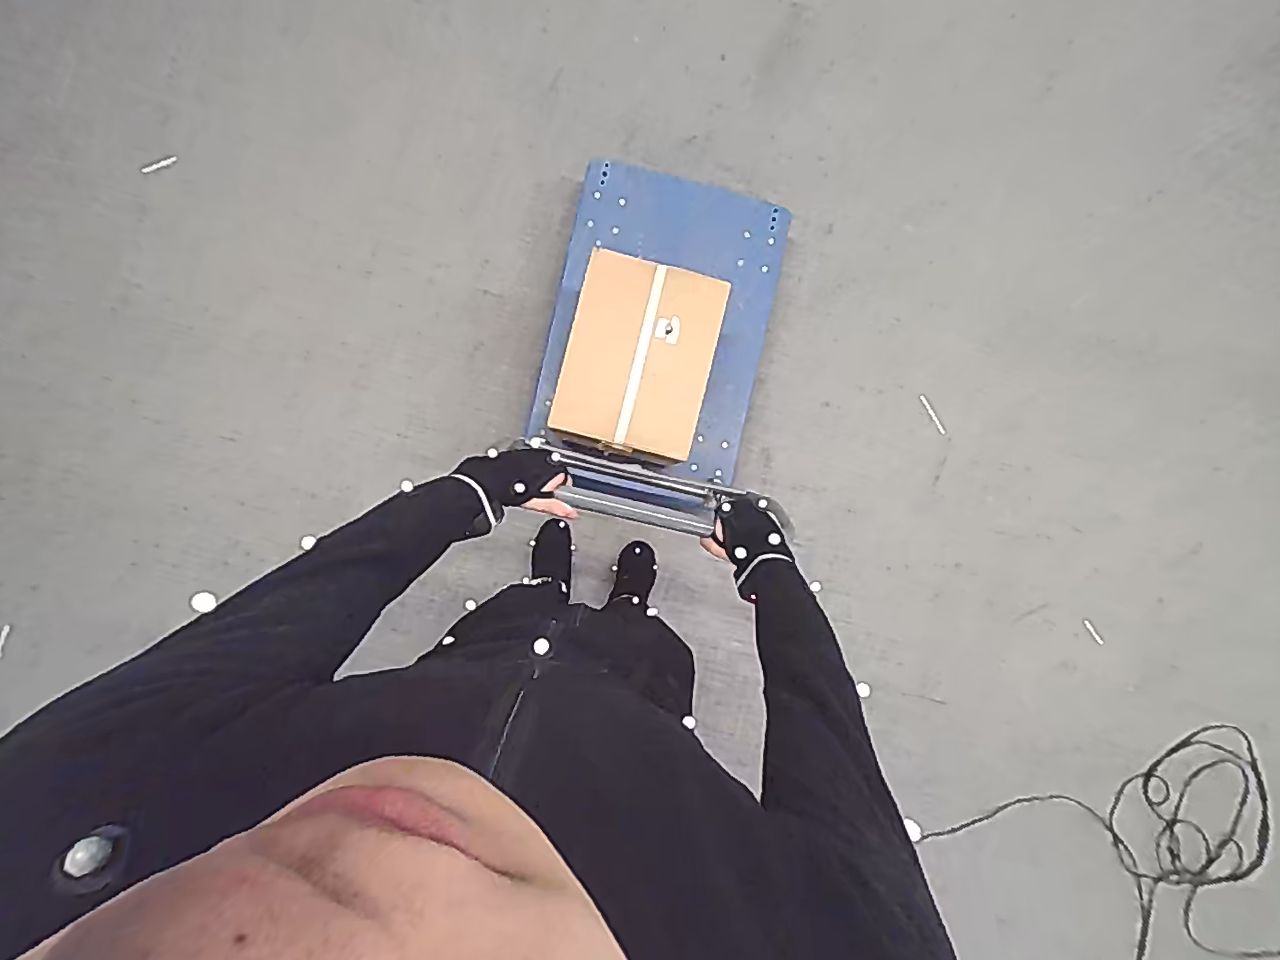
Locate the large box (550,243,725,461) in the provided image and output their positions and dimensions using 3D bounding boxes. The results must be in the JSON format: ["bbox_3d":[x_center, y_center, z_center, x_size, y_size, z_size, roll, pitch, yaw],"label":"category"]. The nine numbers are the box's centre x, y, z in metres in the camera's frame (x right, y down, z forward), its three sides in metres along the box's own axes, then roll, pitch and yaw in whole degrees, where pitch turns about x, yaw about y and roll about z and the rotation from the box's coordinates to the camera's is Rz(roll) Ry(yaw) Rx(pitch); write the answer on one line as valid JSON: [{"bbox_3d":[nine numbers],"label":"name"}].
[{"bbox_3d":[-0.012,-0.279,1.310,0.320,0.320,0.408,14,88,-4],"label":"large box"}]
